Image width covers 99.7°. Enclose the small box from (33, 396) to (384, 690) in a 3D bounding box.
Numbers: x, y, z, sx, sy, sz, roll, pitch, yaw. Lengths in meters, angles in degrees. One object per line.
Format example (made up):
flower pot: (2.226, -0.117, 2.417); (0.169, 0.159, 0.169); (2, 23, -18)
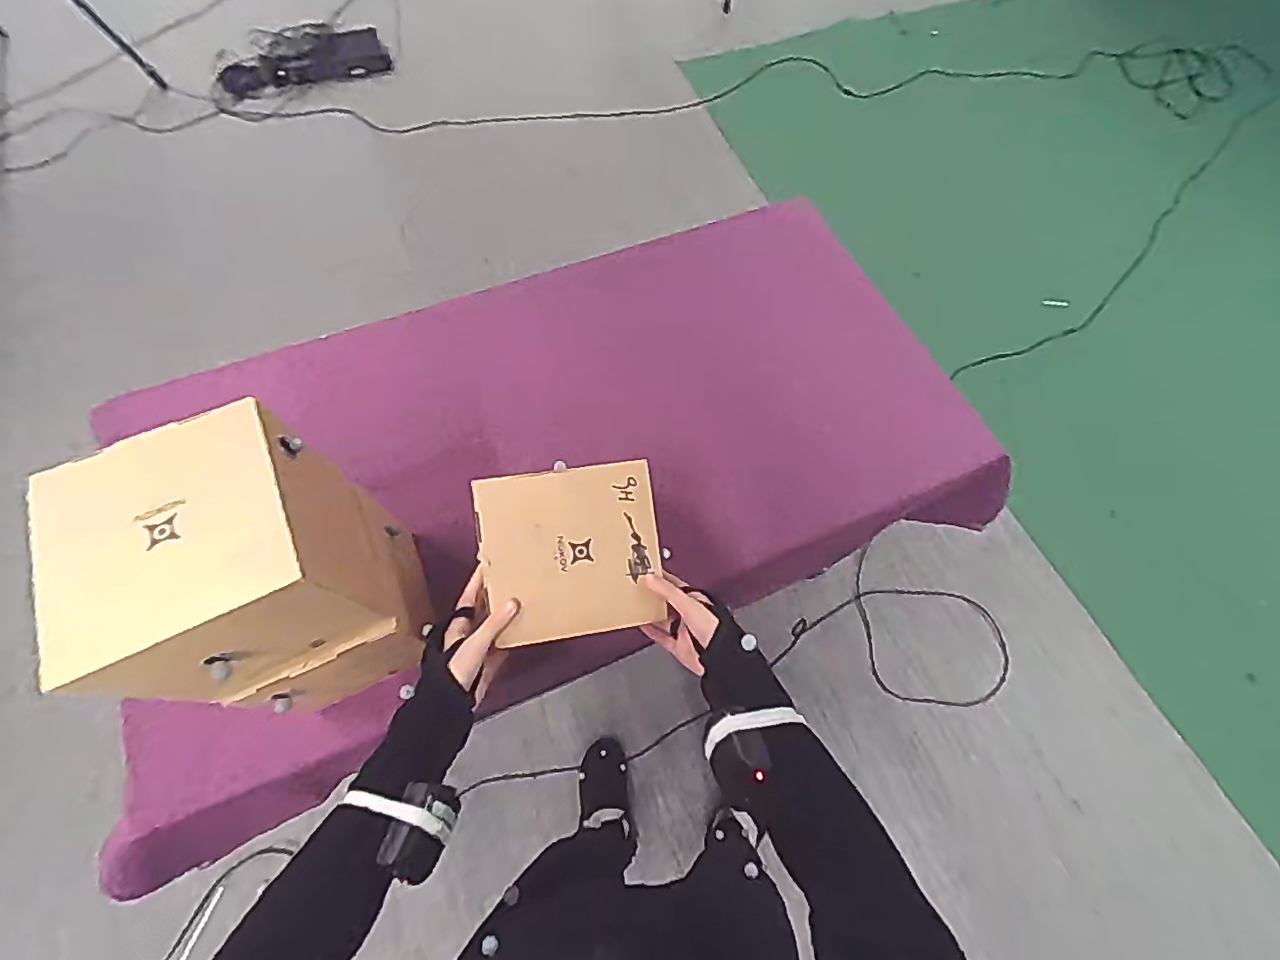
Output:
small box: (-0.353, 0.065, 0.471); (0.168, 0.176, 0.179); (-26, 67, -12)
